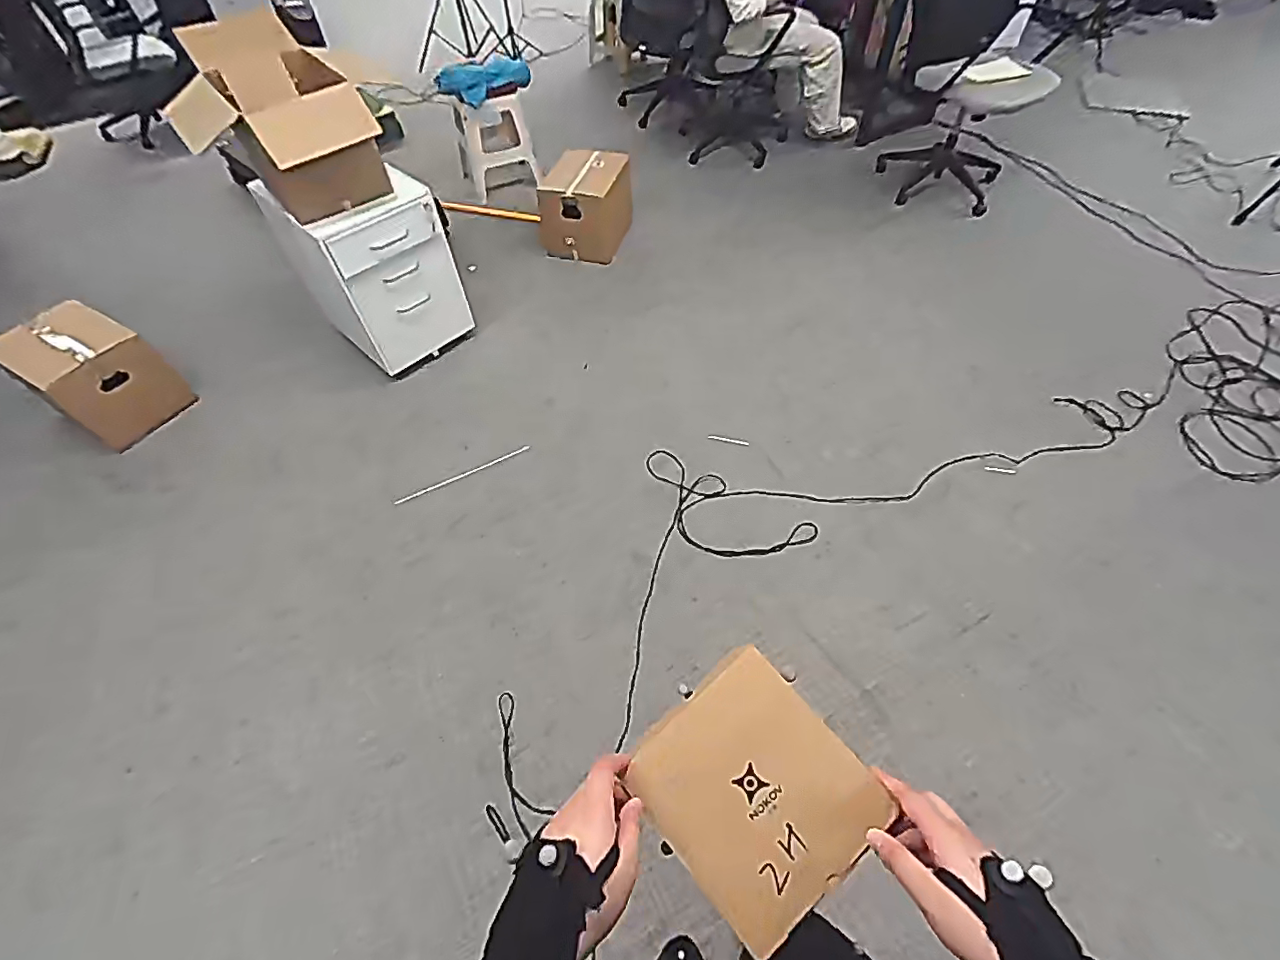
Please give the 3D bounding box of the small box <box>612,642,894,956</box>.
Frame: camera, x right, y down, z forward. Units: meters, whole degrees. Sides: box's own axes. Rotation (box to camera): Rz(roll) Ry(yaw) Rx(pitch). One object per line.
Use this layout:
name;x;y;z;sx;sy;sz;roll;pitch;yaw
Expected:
small box;0.099;0.282;0.526;0.168;0.176;0.179;-43;73;-7
